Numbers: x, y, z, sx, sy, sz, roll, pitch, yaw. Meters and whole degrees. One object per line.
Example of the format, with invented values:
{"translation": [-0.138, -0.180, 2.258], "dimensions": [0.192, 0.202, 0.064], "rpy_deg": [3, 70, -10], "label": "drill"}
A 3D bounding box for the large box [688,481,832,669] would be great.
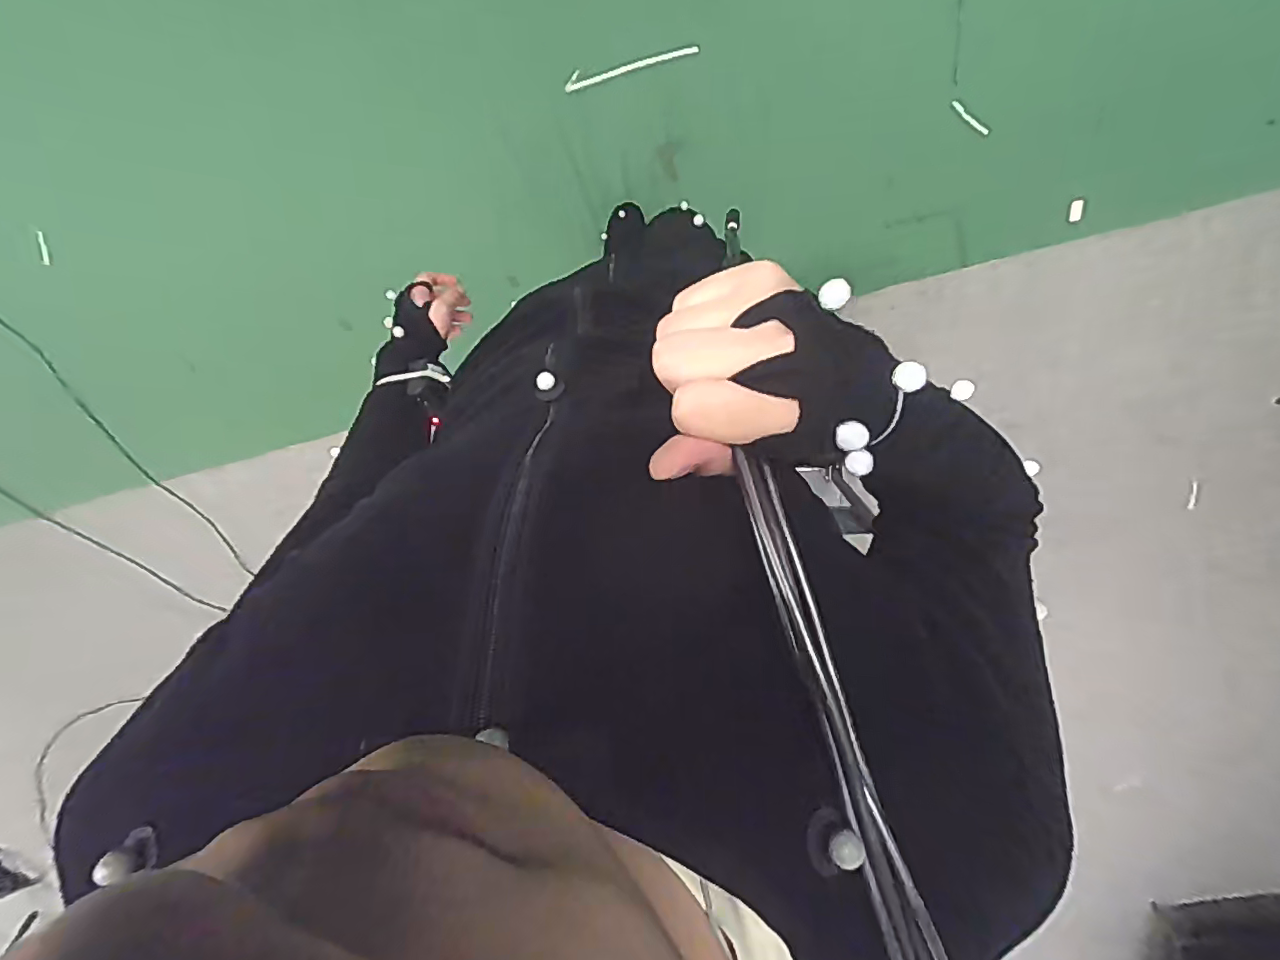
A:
{"translation": [0.301, 0.248, 1.471], "dimensions": [0.320, 0.320, 0.408], "rpy_deg": [-1, 115, 1], "label": "large box"}
